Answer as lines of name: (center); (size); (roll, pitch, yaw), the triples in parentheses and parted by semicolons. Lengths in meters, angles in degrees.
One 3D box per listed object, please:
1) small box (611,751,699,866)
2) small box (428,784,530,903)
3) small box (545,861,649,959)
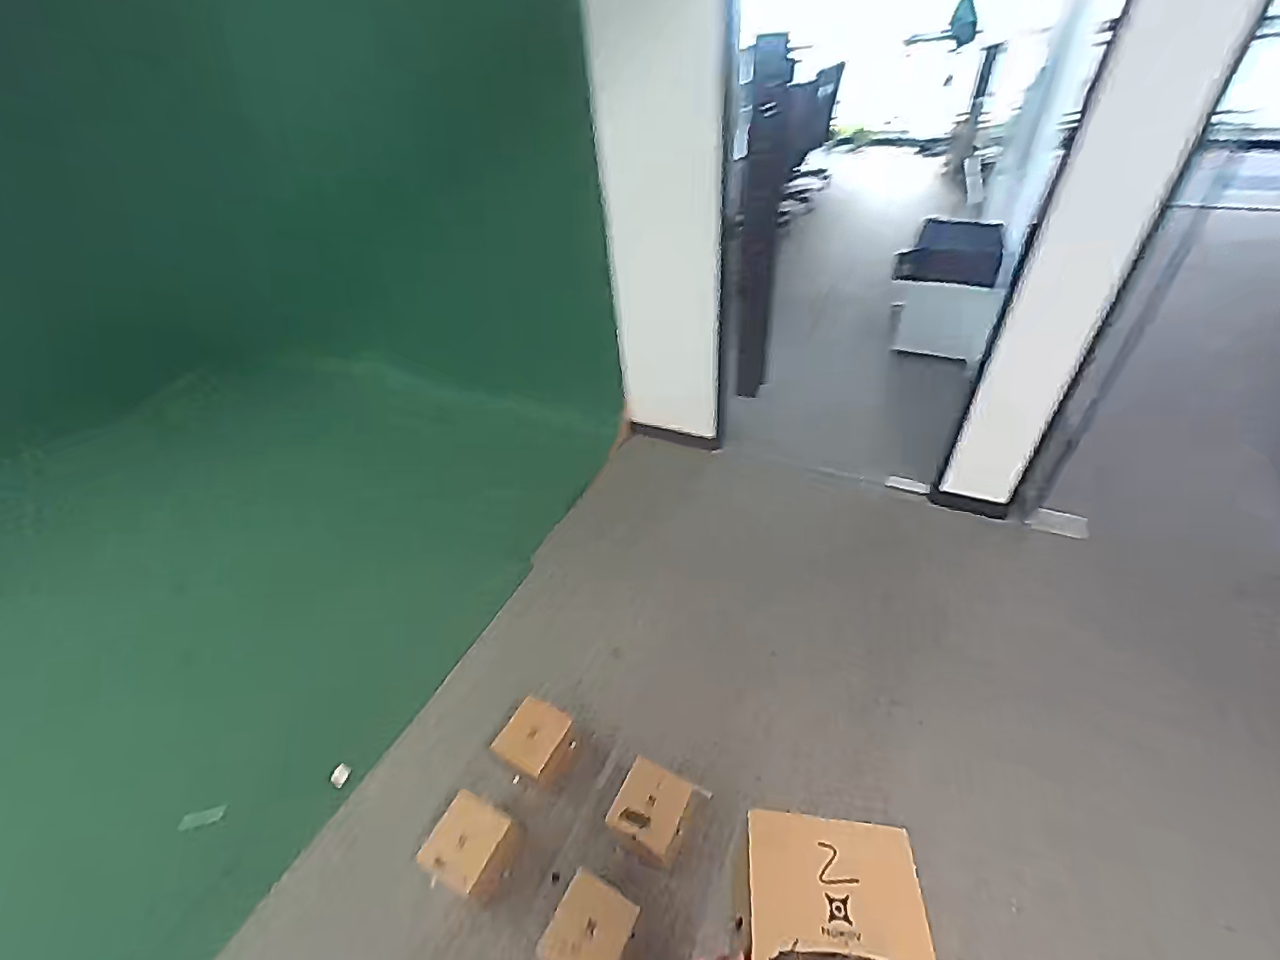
small box: (0.048, 0.854, 1.403); (0.168, 0.176, 0.179); (18, 46, 25)
small box: (-0.400, 0.927, 1.380); (0.168, 0.176, 0.179); (16, 45, 24)
small box: (-0.089, 1.024, 1.231); (0.168, 0.176, 0.179); (17, 47, 25)
